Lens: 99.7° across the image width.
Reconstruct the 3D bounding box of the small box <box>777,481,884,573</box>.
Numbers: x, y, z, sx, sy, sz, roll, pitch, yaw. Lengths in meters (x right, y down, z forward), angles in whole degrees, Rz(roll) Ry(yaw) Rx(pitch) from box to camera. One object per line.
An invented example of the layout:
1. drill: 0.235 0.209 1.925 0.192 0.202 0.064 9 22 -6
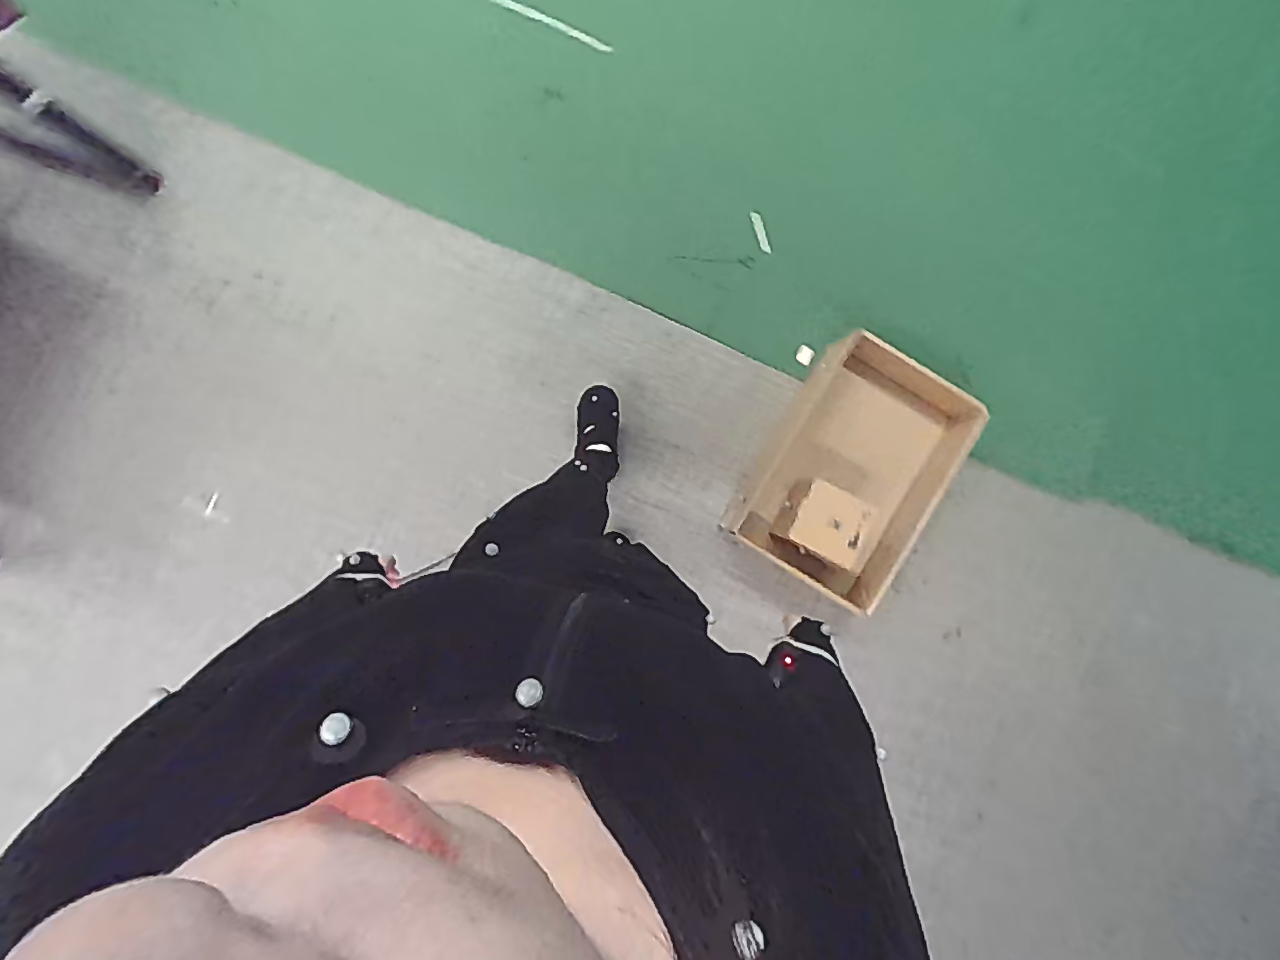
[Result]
1. small box: 0.472 0.119 1.376 0.179 0.176 0.168 29 87 1
